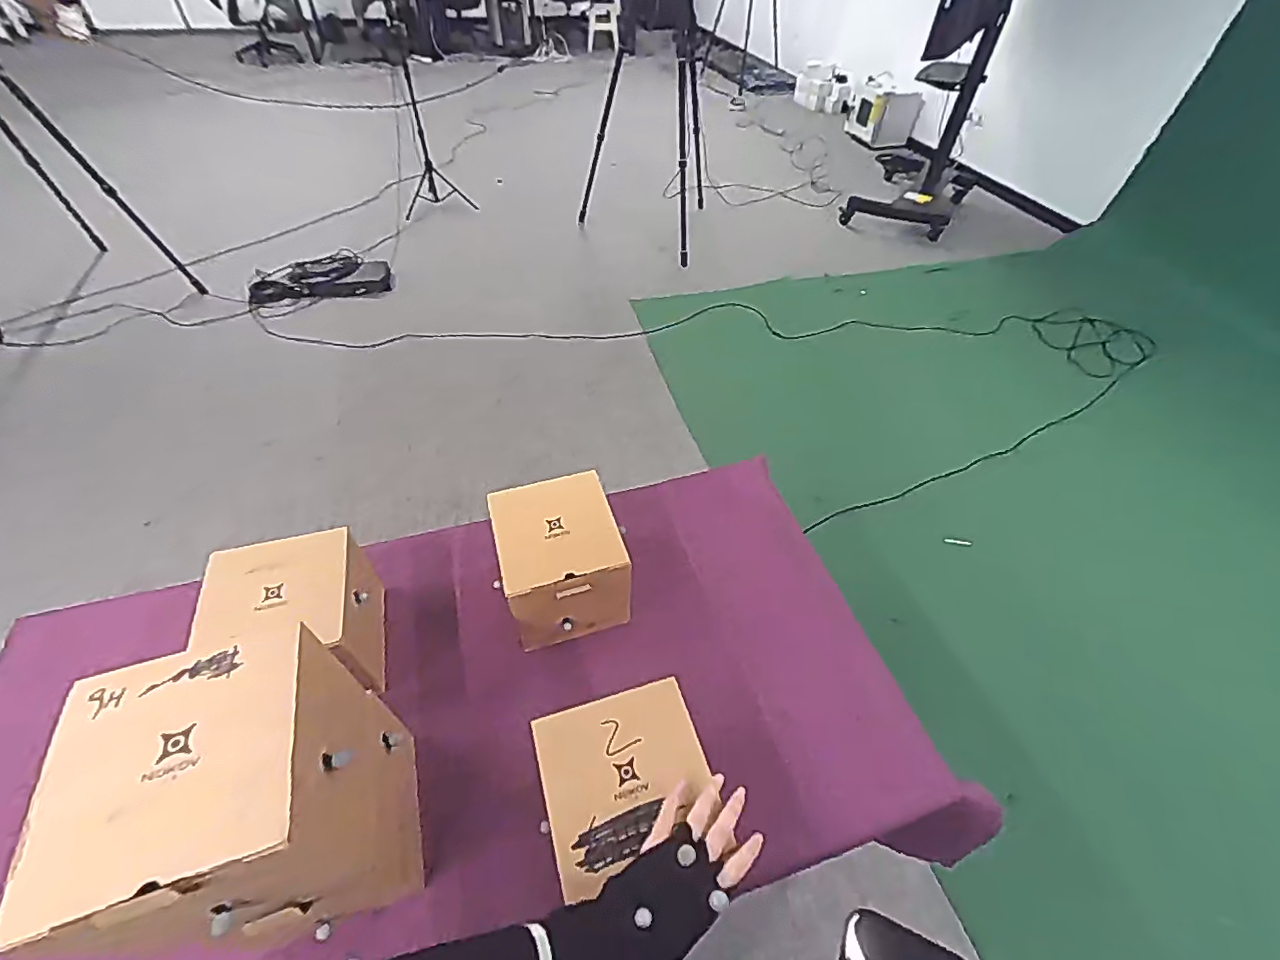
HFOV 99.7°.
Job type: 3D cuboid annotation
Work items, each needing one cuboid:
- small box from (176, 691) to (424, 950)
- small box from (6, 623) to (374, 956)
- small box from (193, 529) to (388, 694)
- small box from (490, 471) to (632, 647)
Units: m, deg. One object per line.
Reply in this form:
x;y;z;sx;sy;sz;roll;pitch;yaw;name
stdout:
-0.341;0.363;0.579;0.168;0.176;0.179;-14;49;-13;small box
-0.338;0.255;0.455;0.168;0.176;0.179;-15;51;-15;small box
-0.448;0.197;0.724;0.168;0.176;0.179;-11;50;-13;small box
-0.118;0.117;0.806;0.168;0.176;0.179;-14;51;-14;small box
